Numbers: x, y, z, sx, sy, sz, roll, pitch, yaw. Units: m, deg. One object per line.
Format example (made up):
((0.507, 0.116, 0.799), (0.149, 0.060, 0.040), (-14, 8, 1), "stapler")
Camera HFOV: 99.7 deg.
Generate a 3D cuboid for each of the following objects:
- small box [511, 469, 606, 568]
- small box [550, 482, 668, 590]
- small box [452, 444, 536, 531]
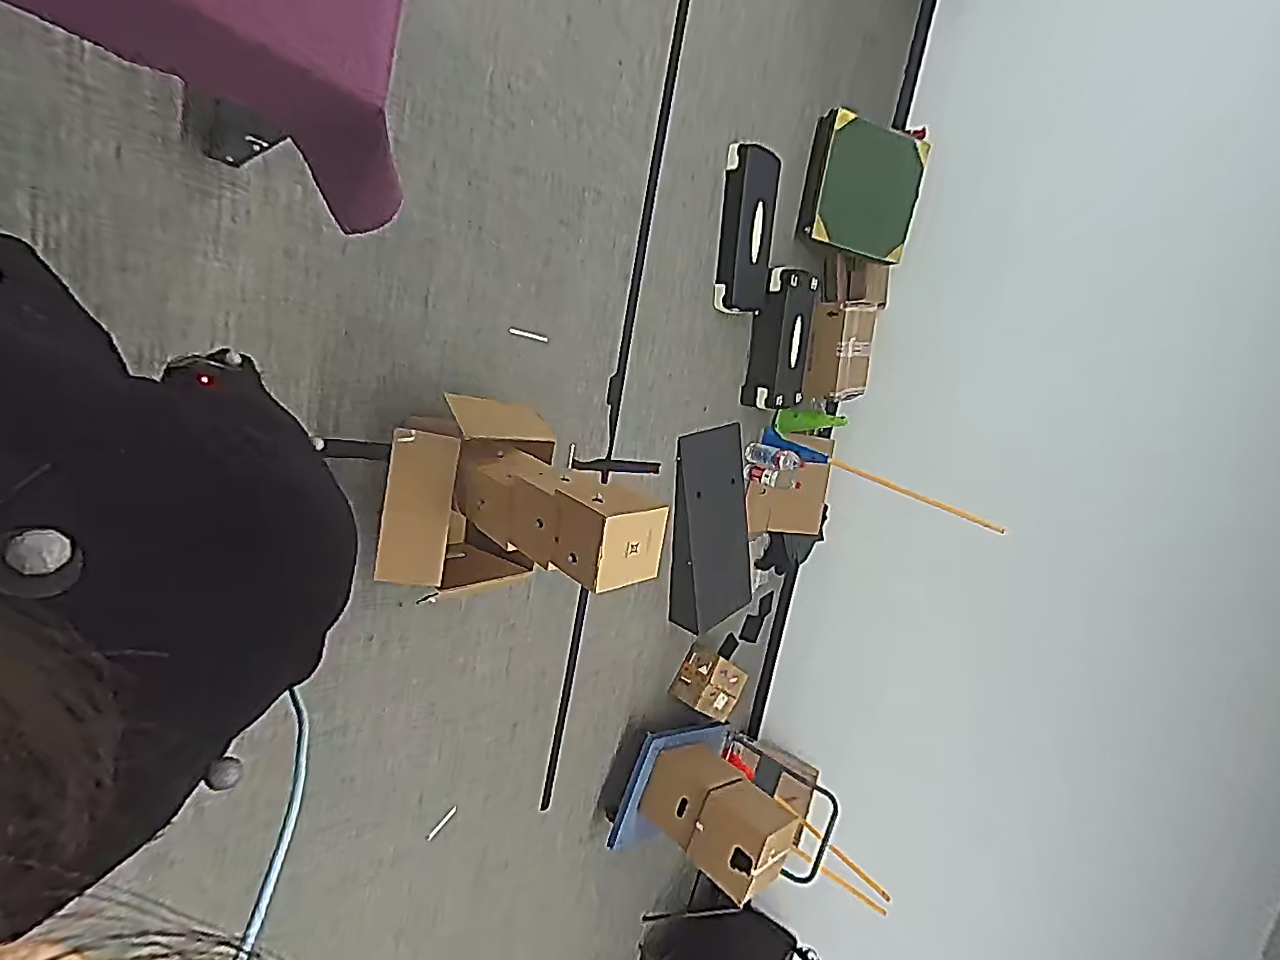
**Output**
((-0.184, 0.078, 1.254), (0.168, 0.176, 0.179), (-7, 112, -43), "small box")
((-0.070, 0.109, 1.140), (0.179, 0.176, 0.168), (-6, 112, -44), "small box")
((-0.399, 0.010, 1.495), (0.168, 0.176, 0.179), (-24, 124, -37), "small box")
